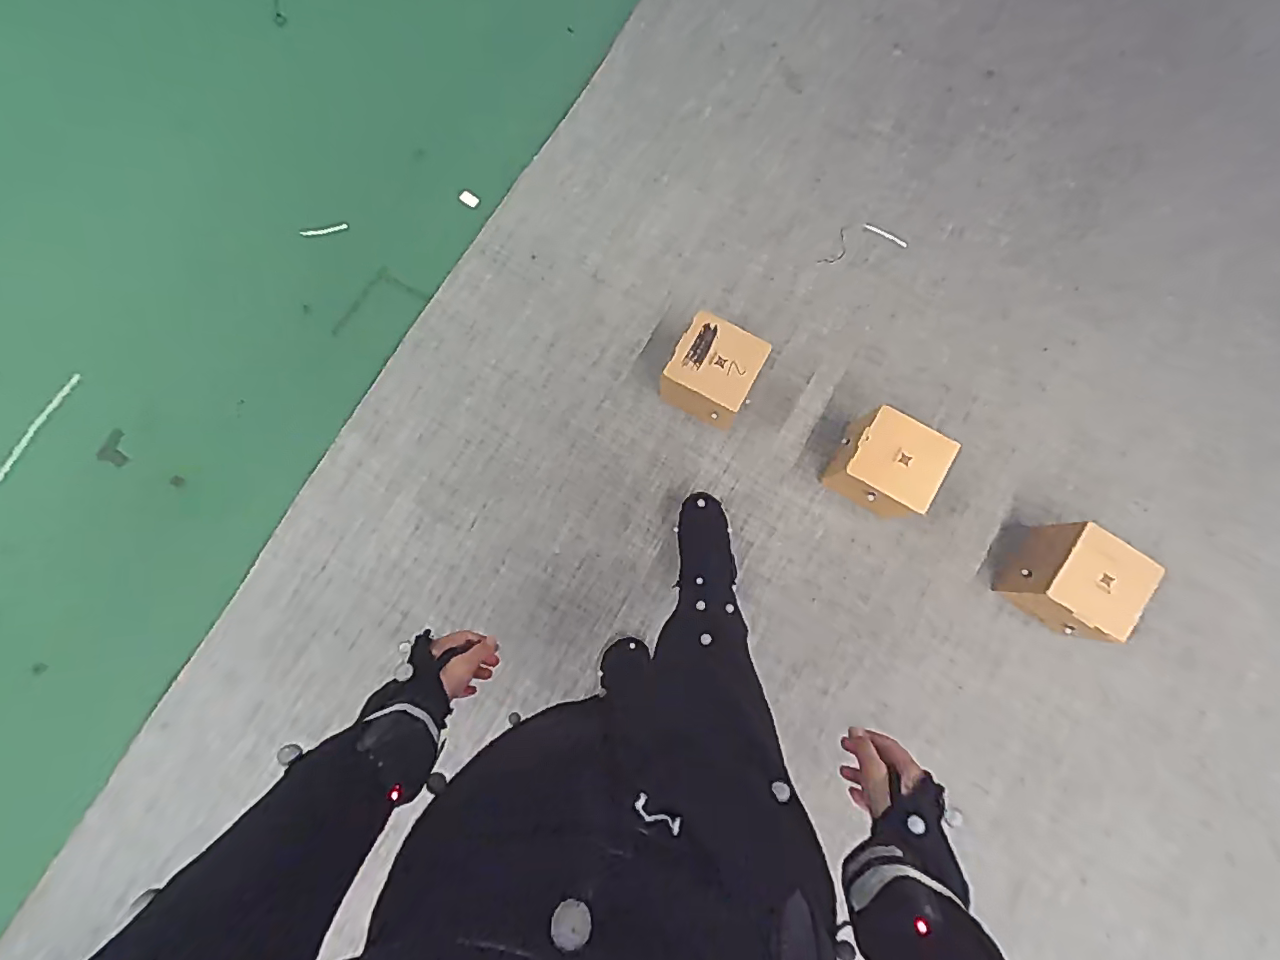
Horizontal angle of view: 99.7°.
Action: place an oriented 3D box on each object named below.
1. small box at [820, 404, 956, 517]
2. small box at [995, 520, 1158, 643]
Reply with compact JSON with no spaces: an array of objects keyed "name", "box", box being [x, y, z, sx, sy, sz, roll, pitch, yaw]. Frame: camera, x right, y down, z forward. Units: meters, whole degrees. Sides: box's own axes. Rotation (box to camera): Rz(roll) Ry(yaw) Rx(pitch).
[{"name":"small box","box":[0.517,-0.032,1.150,0.179,0.176,0.168,30,83,6]},{"name":"small box","box":[0.874,0.204,1.105,0.168,0.176,0.179,35,82,5]}]
